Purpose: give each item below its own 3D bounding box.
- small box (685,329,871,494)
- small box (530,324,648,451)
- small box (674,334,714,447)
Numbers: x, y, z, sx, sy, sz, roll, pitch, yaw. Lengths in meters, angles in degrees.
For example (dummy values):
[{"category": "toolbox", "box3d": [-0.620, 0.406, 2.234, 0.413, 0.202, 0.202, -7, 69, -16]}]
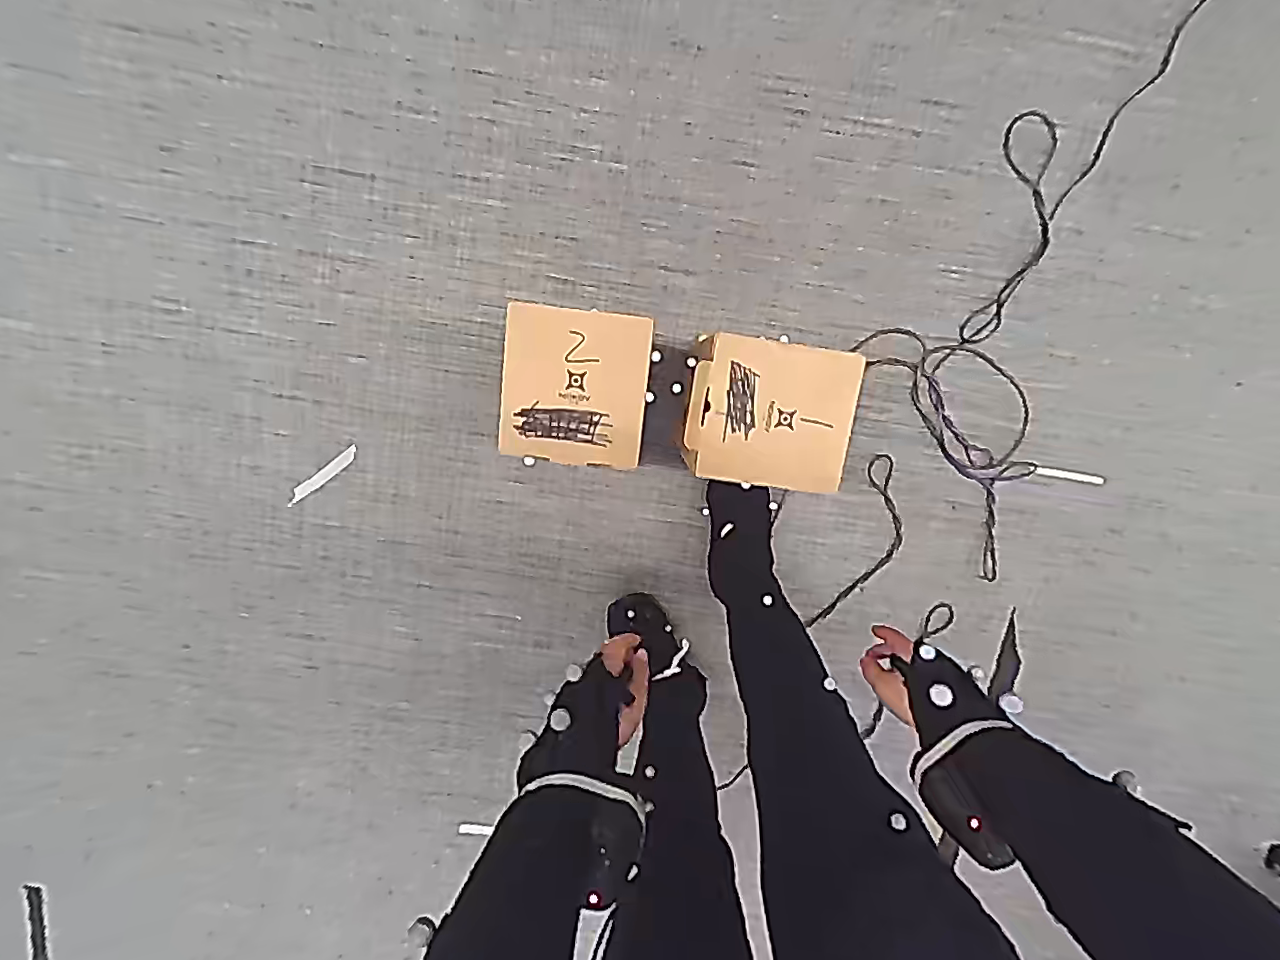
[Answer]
[{"category": "small box", "box3d": [0.158, -0.089, 0.689, 0.179, 0.176, 0.168, 8, 101, -3]}, {"category": "small box", "box3d": [-0.076, -0.144, 0.848, 0.168, 0.176, 0.179, 2, 101, -1]}, {"category": "small box", "box3d": [0.157, -0.127, 0.848, 0.179, 0.176, 0.168, 10, 100, -2]}]
